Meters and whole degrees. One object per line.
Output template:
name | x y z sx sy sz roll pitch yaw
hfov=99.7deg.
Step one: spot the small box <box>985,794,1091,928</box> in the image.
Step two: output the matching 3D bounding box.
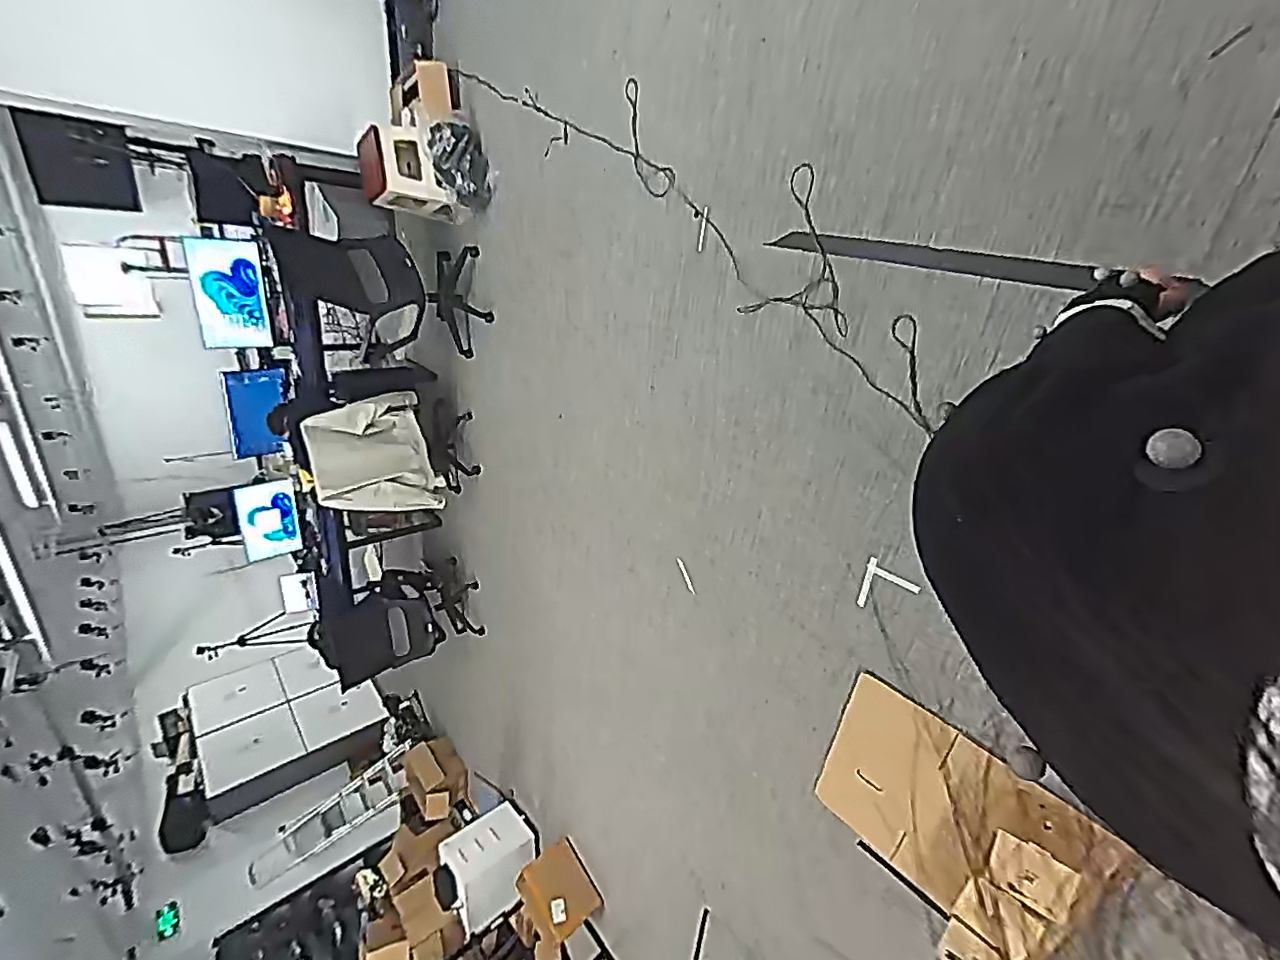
small box | 0.992 0.934 1.346 0.168 0.176 0.179 19 115 44
